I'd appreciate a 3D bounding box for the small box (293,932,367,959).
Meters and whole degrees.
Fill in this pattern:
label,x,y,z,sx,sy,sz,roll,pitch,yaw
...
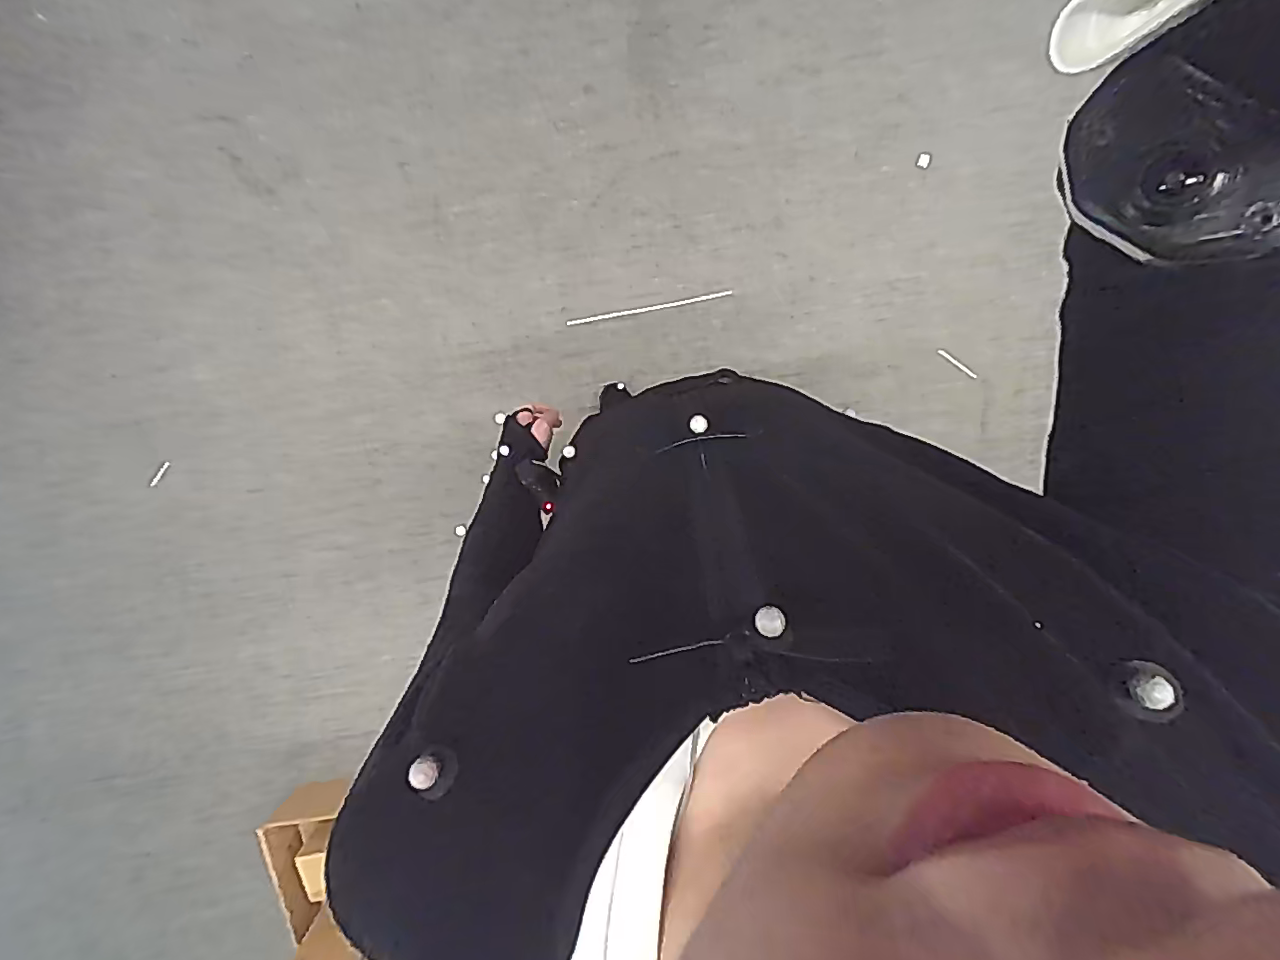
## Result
label,x,y,z,sx,sy,sz,roll,pitch,yaw
small box,-0.930,1.479,1.584,0.179,0.176,0.168,-7,99,1

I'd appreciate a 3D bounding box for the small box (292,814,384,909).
label,x,y,z,sx,sy,sz,roll,pitch,yaw
small box,-0.946,1.197,1.707,0.179,0.176,0.168,-11,99,0
